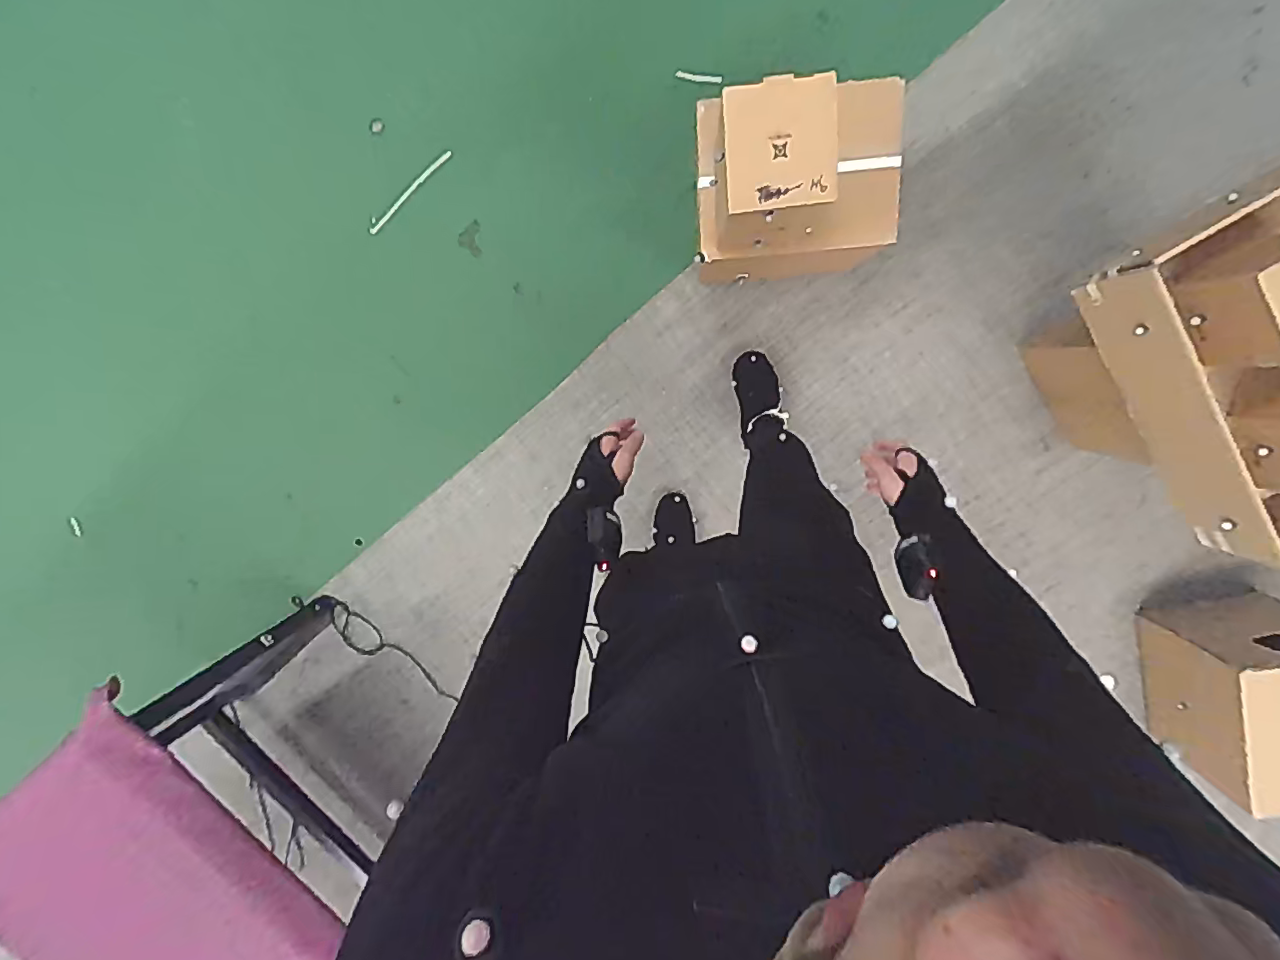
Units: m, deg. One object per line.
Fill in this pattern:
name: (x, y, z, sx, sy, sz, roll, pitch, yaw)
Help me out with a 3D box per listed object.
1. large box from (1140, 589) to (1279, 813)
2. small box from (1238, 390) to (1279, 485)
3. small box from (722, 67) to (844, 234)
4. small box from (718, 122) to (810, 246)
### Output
large box: (1.581, 0.546, 1.381, 0.320, 0.320, 0.408, -15, 99, 8)
small box: (1.215, -0.085, 0.924, 0.179, 0.176, 0.168, -30, 98, 12)
small box: (0.223, -0.516, 0.872, 0.168, 0.176, 0.179, -4, 102, 6)
small box: (0.237, -0.561, 1.029, 0.168, 0.176, 0.179, -3, 103, 7)
